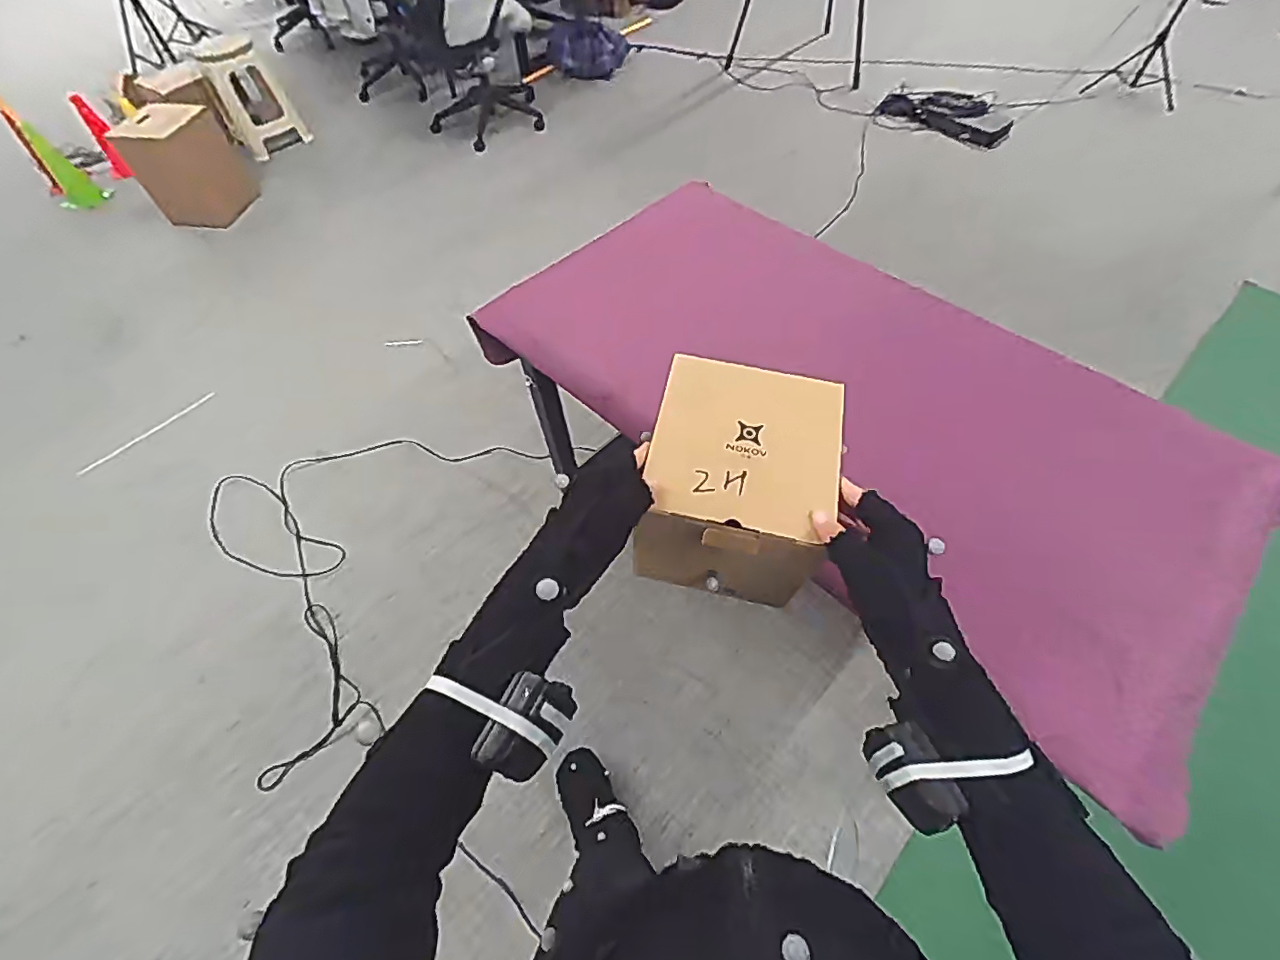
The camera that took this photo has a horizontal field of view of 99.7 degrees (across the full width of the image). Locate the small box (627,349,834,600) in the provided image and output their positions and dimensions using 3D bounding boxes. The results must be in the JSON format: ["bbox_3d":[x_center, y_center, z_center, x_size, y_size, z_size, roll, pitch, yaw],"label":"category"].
[{"bbox_3d":[0.085,0.000,0.554,0.168,0.176,0.179,13,61,7],"label":"small box"}]
